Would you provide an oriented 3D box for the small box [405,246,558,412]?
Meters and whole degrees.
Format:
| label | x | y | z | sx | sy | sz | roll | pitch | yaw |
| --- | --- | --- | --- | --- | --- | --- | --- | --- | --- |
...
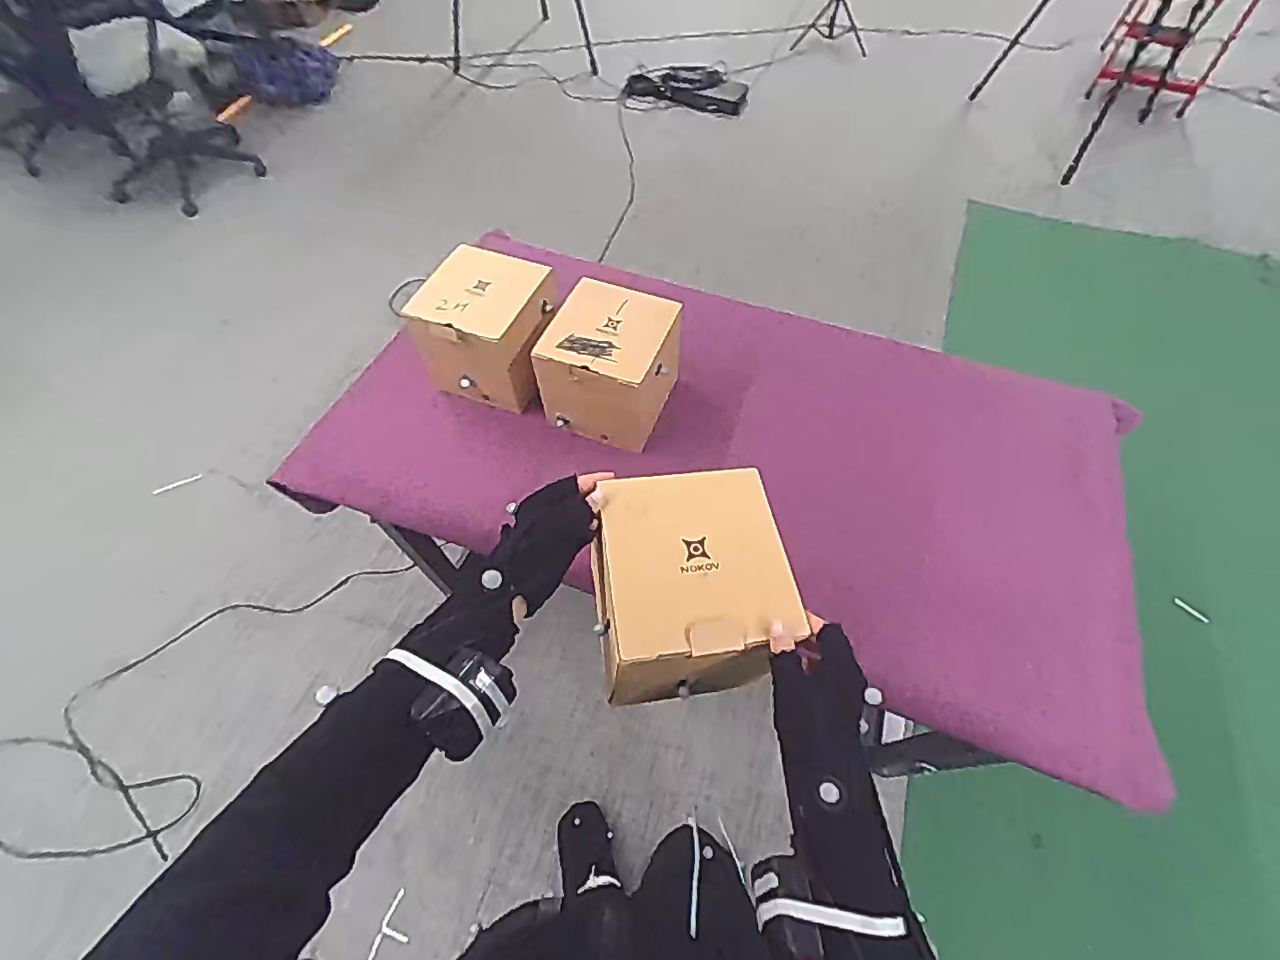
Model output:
| label | x | y | z | sx | sy | sz | roll | pitch | yaw |
| --- | --- | --- | --- | --- | --- | --- | --- | --- | --- |
| small box | -0.243 | -0.245 | 0.889 | 0.168 | 0.176 | 0.179 | 18 | 61 | 12 |

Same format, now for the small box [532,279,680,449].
| label | x | y | z | sx | sy | sz | roll | pitch | yaw |
| --- | --- | --- | --- | --- | --- | --- | --- | --- | --- |
| small box | -0.044 | -0.176 | 0.847 | 0.168 | 0.176 | 0.179 | 19 | 60 | 11 |
